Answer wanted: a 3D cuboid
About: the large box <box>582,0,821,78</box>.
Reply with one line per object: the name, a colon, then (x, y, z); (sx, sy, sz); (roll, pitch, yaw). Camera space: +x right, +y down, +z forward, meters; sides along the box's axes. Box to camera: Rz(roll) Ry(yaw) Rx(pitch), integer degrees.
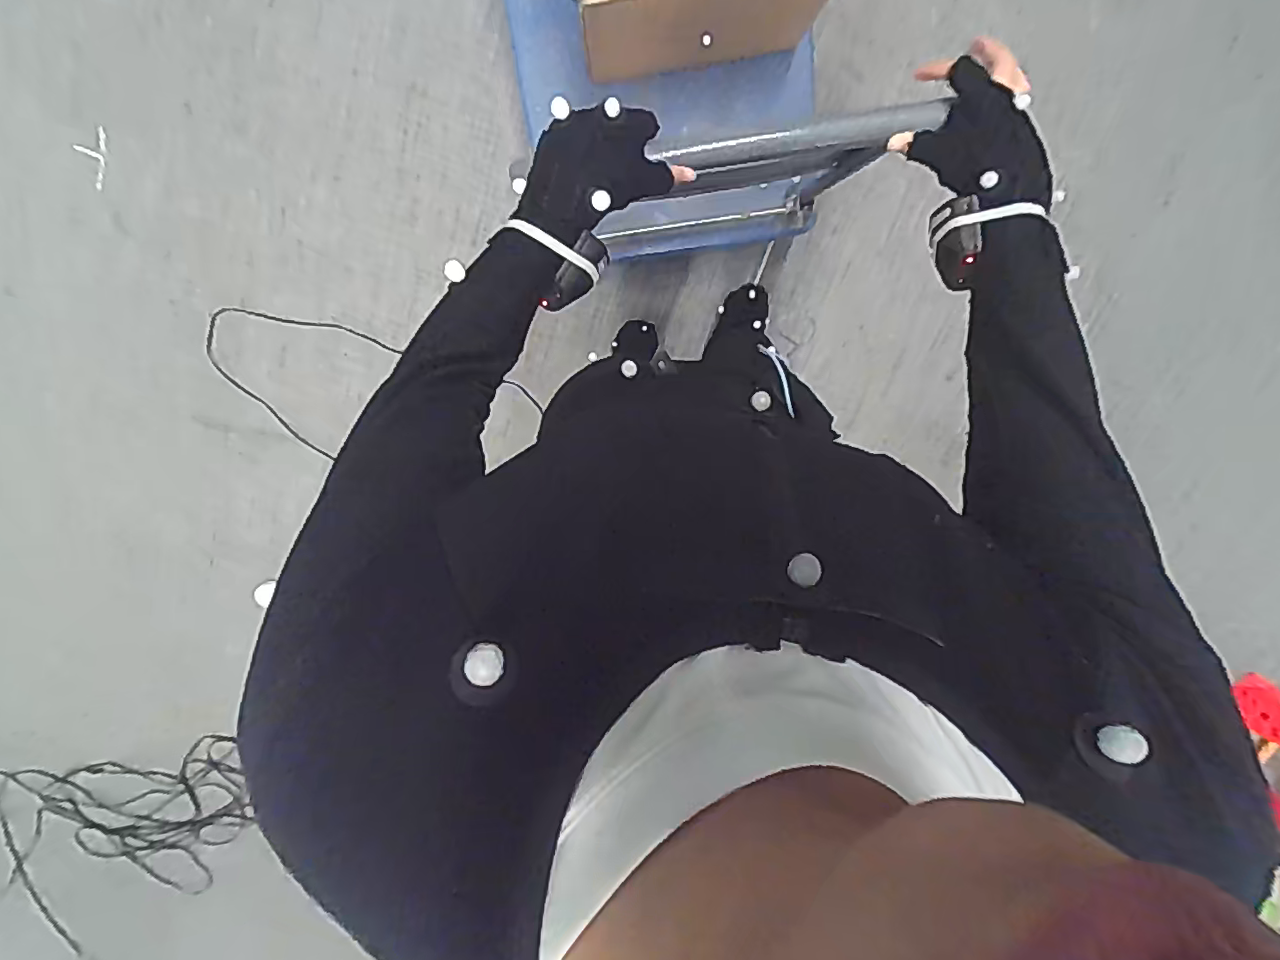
large box: (0.089, -0.915, 0.871); (0.408, 0.320, 0.320); (-9, 108, 3)
